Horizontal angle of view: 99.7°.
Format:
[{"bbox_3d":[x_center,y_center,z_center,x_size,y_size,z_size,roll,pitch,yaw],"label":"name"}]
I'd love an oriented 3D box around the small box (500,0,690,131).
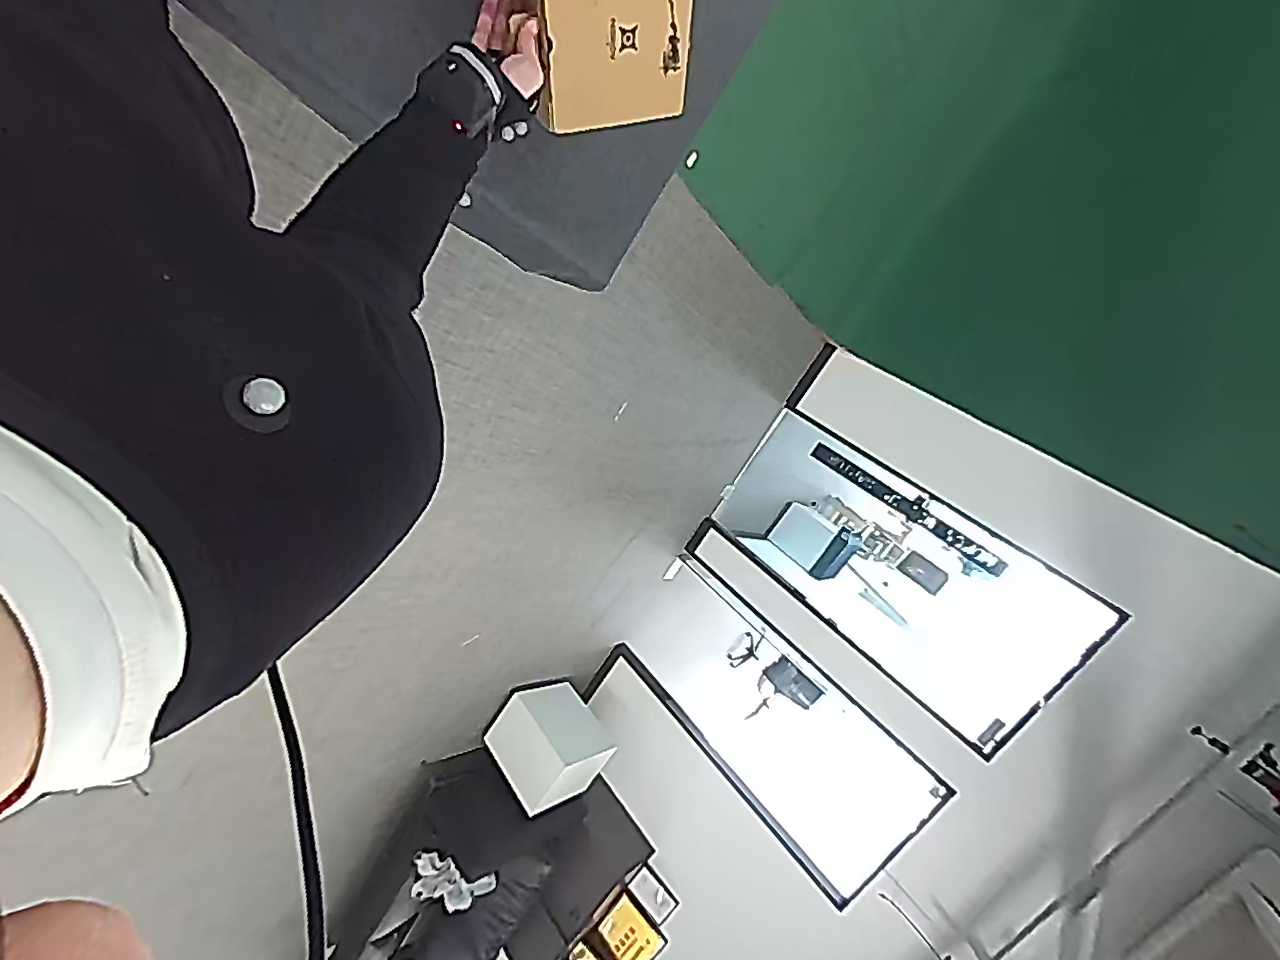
[{"bbox_3d":[-0.060,-0.534,0.627,0.179,0.176,0.168,-20,146,-19],"label":"small box"}]
